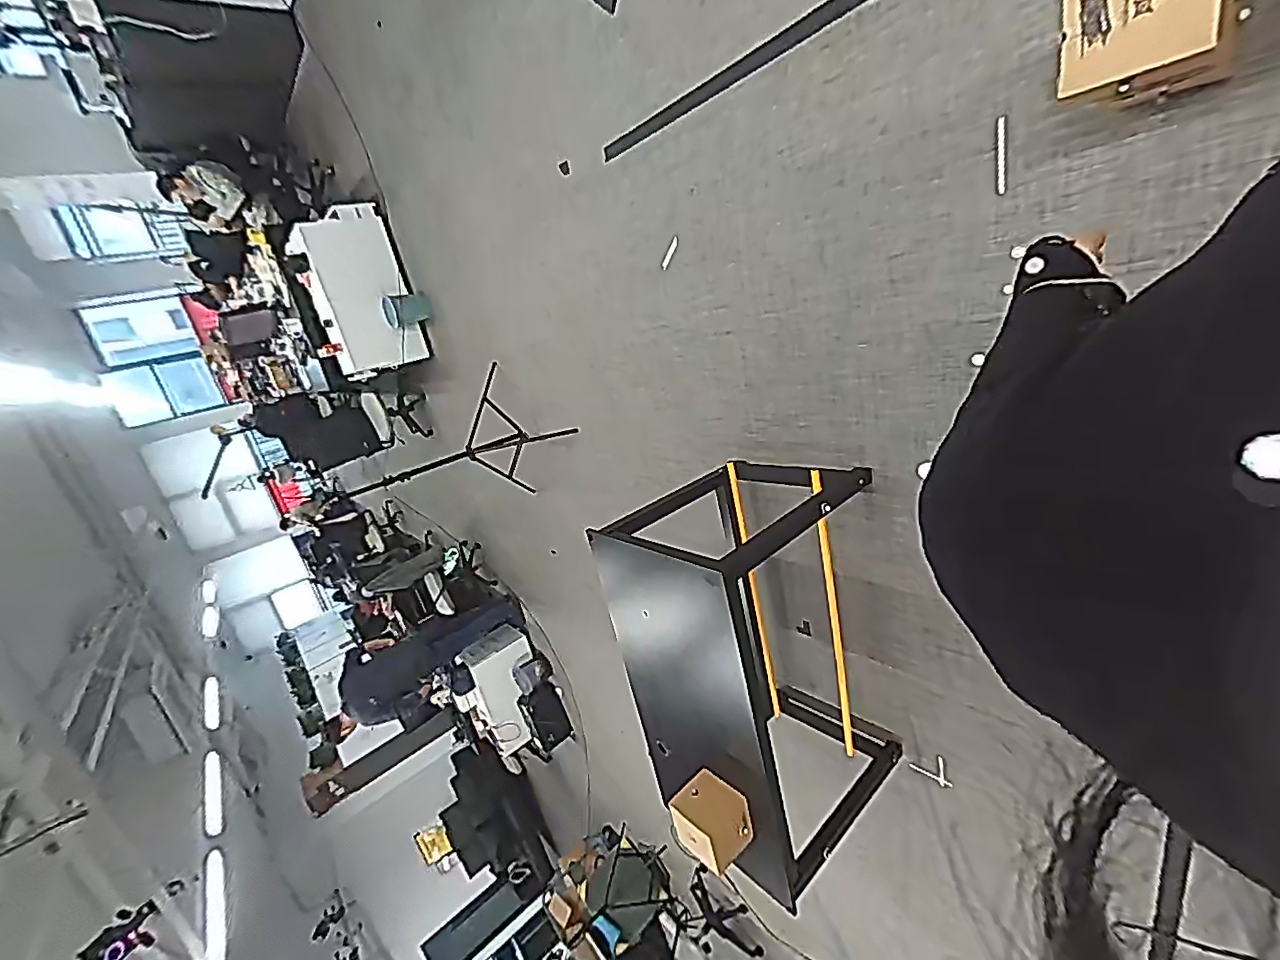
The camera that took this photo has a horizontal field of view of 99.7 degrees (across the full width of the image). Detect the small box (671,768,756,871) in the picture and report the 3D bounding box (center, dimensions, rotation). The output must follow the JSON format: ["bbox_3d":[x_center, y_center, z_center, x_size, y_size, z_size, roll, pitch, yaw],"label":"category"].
[{"bbox_3d":[0.227,1.024,1.654,0.179,0.176,0.168,9,120,51],"label":"small box"}]

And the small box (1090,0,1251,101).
[{"bbox_3d":[0.874,-0.756,0.888,0.168,0.176,0.179,13,123,50],"label":"small box"}]

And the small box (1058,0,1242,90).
[{"bbox_3d":[0.750,-0.700,0.793,0.179,0.176,0.168,12,121,49],"label":"small box"}]
